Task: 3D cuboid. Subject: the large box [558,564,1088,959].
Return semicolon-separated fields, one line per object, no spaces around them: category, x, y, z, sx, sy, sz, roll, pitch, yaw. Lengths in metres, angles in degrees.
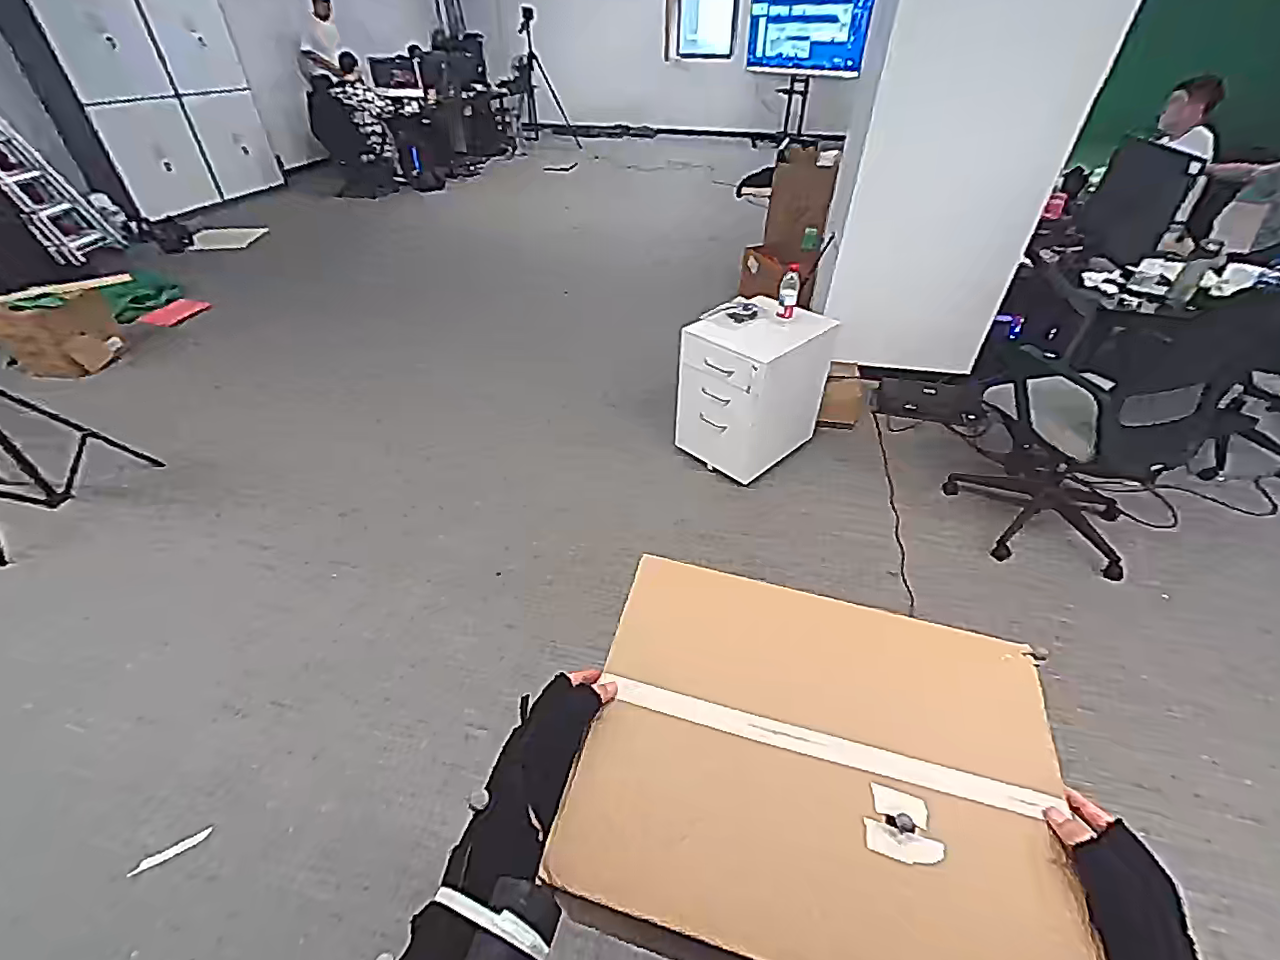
large box;0.155;0.342;0.599;0.408;0.320;0.320;13;48;9
